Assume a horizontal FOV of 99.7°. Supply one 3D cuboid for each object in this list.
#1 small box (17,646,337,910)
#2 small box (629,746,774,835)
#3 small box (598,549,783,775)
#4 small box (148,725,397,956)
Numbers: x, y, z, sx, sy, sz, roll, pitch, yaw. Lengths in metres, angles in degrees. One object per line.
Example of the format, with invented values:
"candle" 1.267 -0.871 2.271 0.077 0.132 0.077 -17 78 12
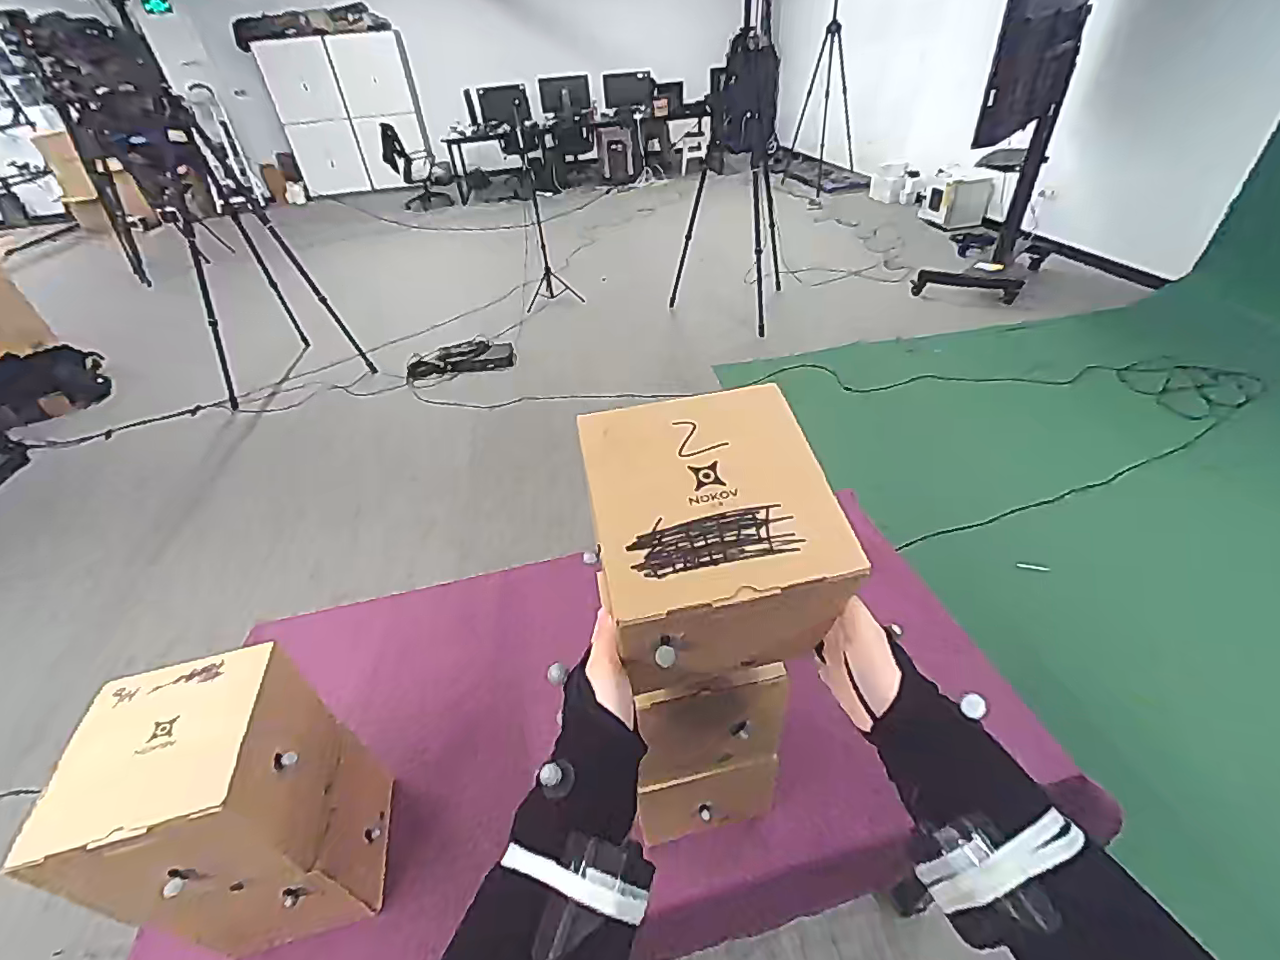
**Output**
"small box" -0.443 0.312 0.564 0.168 0.176 0.179 -13 39 -9
"small box" 0.066 0.340 0.716 0.168 0.176 0.179 -11 39 -6
"small box" 0.052 0.210 0.617 0.168 0.176 0.179 -10 38 -5
"small box" -0.424 0.441 0.664 0.179 0.176 0.168 -13 39 -9
